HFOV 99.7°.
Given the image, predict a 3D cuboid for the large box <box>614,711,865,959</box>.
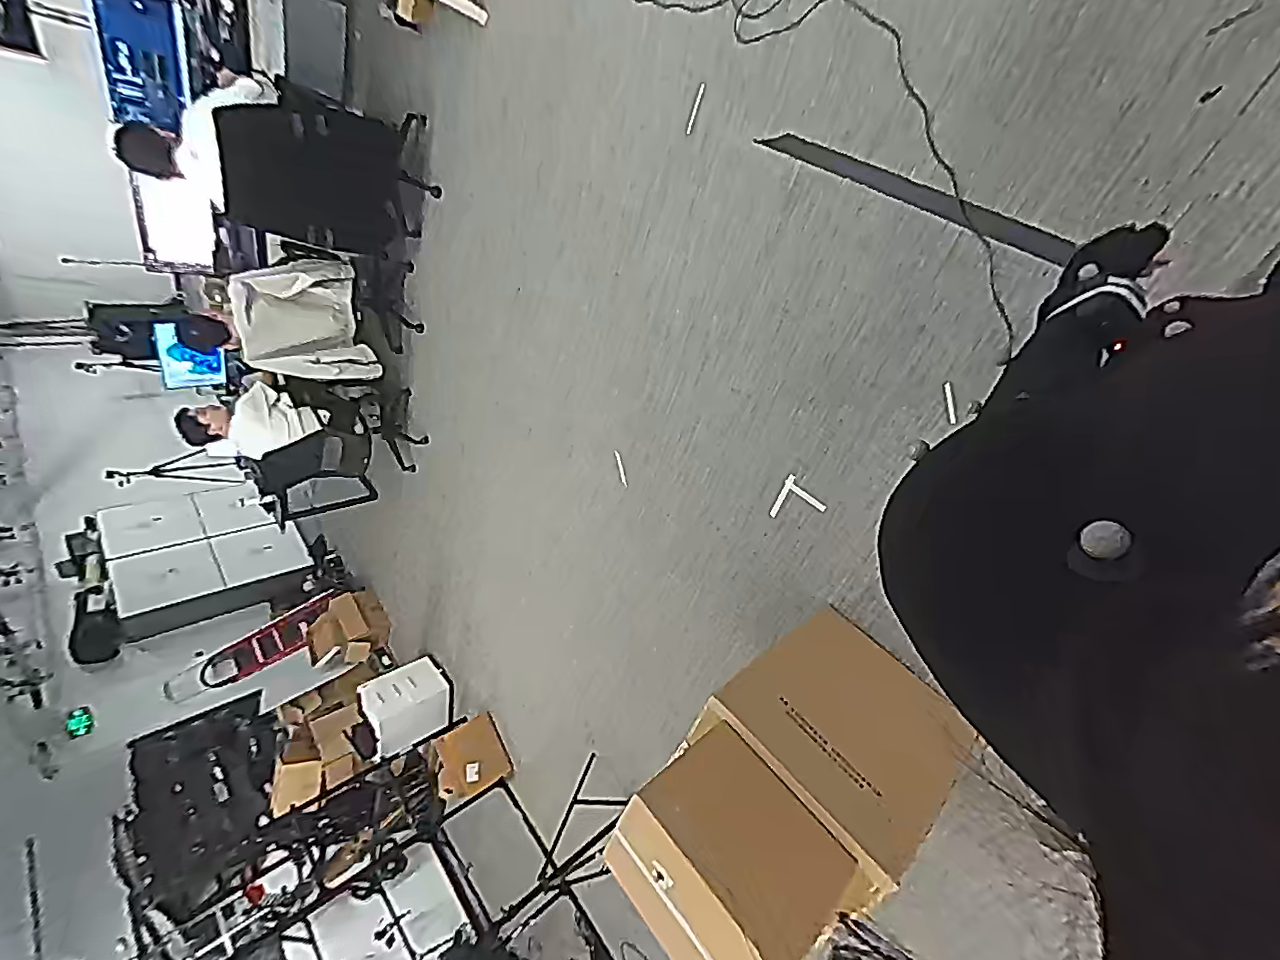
[{"bbox_3d":[0.209,0.827,1.218,0.408,0.320,0.320,41,128,32],"label":"large box"}]
